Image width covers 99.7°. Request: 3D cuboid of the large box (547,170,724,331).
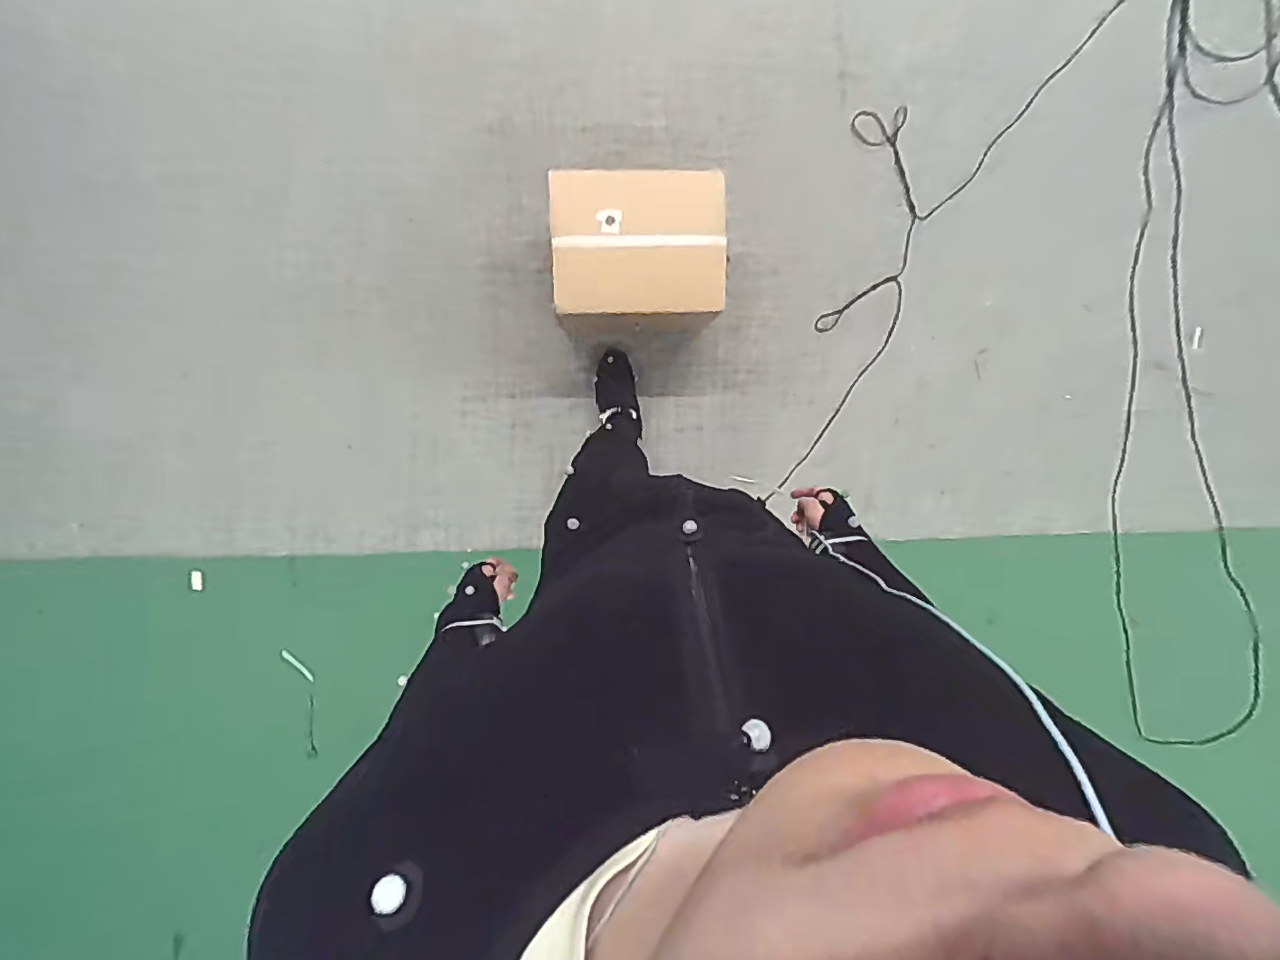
[{"bbox_3d":[-0.011,-0.569,1.399,0.408,0.320,0.320,-3,97,-2],"label":"large box"}]
